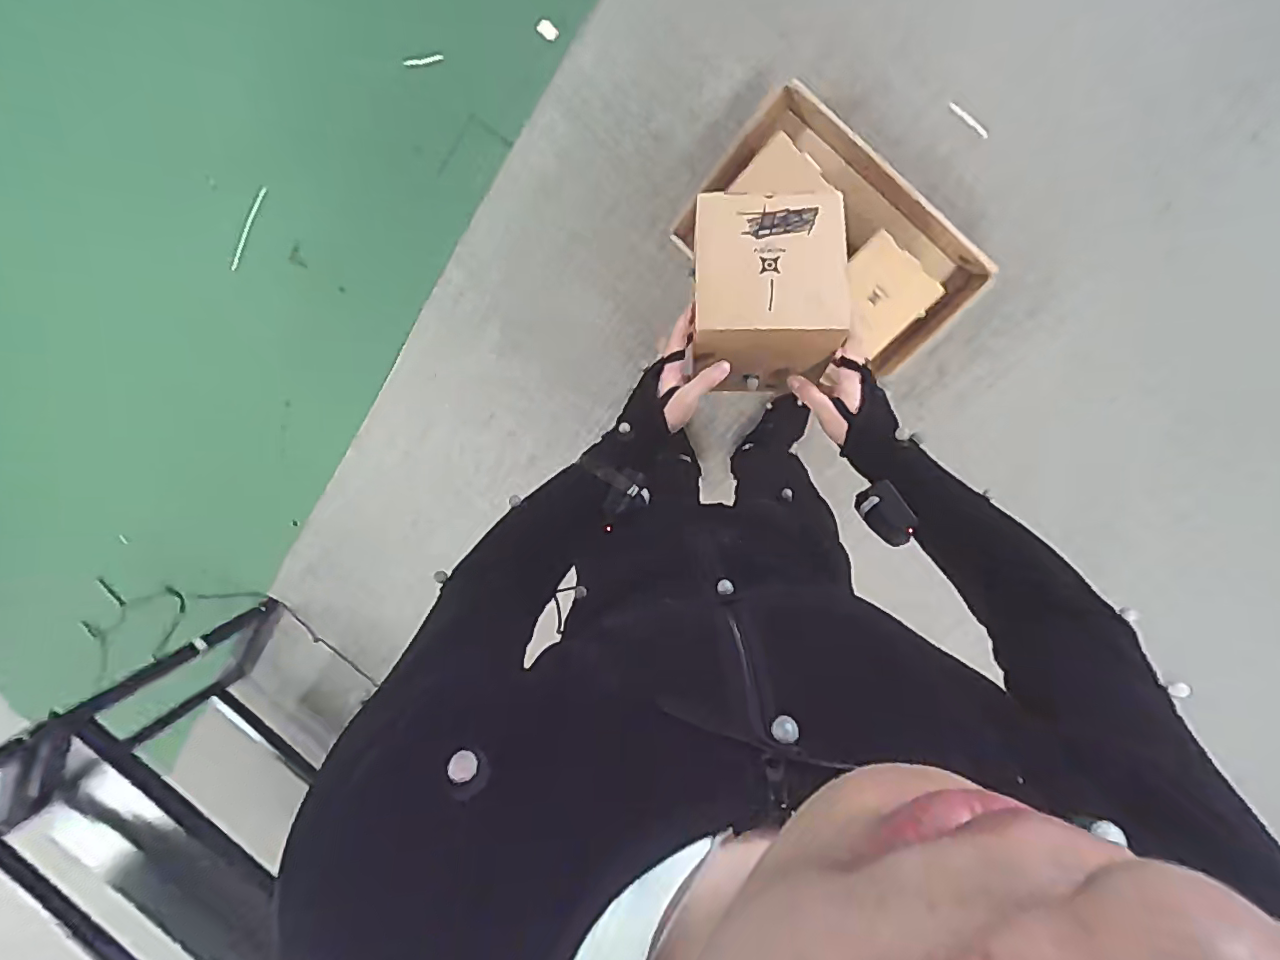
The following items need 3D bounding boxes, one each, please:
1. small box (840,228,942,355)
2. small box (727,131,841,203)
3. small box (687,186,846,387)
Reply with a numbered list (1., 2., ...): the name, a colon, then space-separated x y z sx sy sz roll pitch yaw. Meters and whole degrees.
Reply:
1. small box: 0.473 -0.381 1.110 0.168 0.176 0.179 45 113 0
2. small box: 0.278 -0.557 1.104 0.168 0.176 0.179 46 112 -2
3. small box: 0.144 -0.231 0.675 0.168 0.176 0.179 0 76 4
